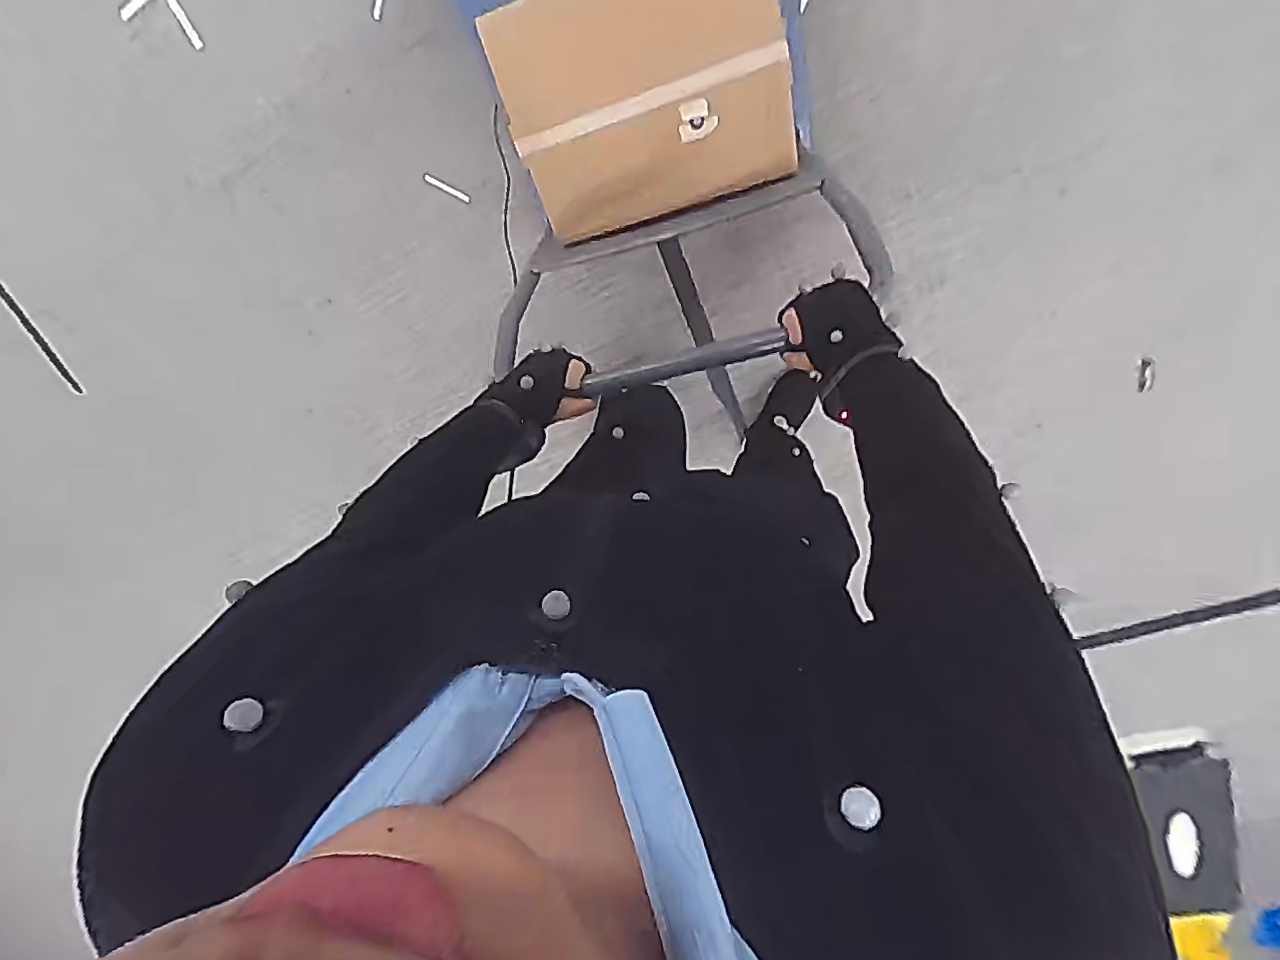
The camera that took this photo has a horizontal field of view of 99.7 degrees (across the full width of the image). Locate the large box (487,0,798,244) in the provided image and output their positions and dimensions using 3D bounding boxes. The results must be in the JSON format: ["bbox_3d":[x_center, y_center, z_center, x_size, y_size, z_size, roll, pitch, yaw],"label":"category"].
[{"bbox_3d":[0.019,-0.655,0.923,0.408,0.320,0.320,-13,127,13],"label":"large box"}]
